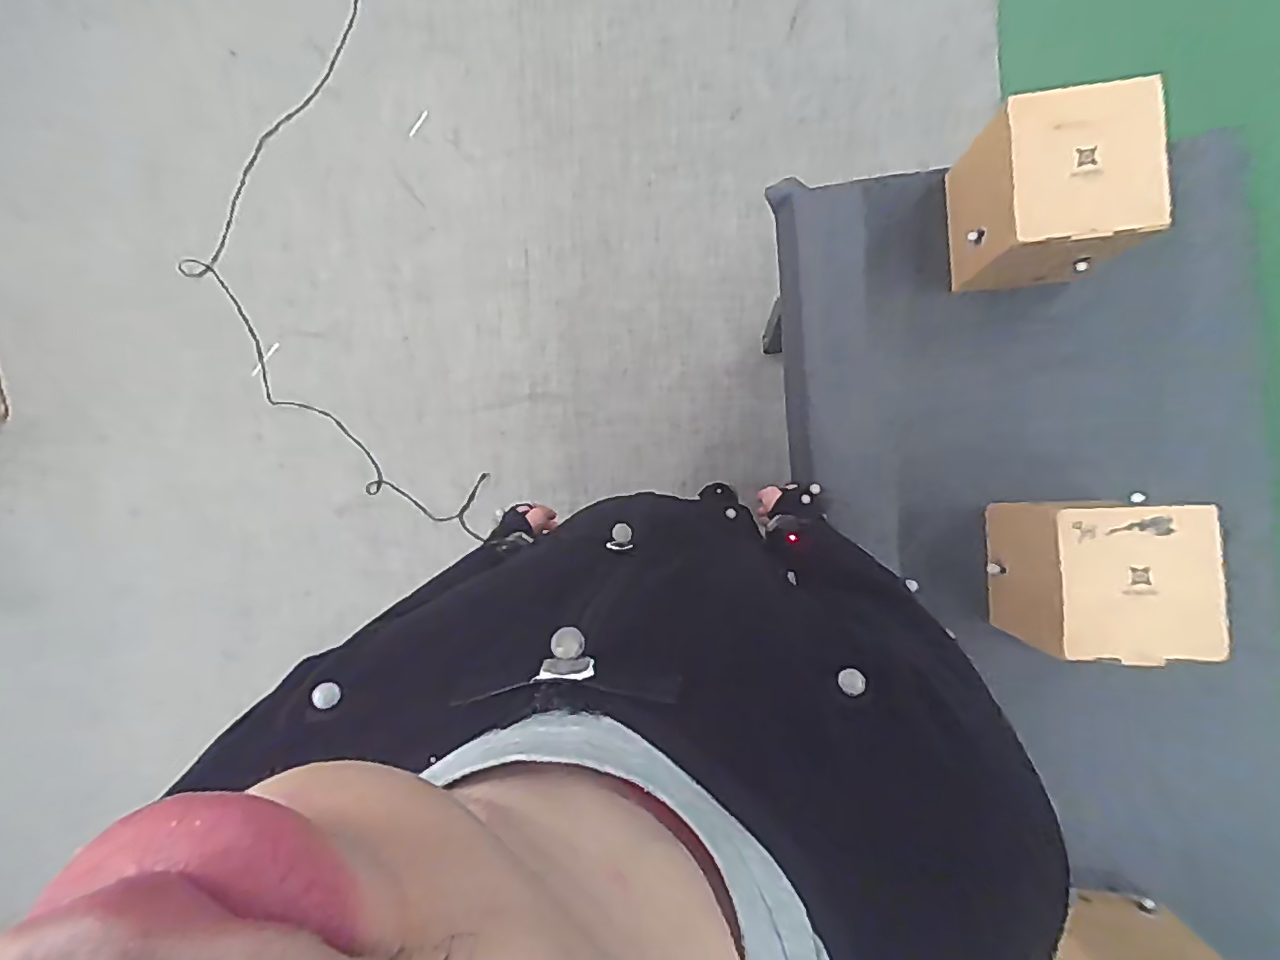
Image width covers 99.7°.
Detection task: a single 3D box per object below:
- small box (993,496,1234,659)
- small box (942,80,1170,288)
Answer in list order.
[{"bbox_3d":[0.581,0.114,0.687,0.168,0.176,0.179,-3,89,5],"label":"small box"},{"bbox_3d":[0.521,-0.364,0.703,0.168,0.176,0.179,-5,87,4],"label":"small box"}]
